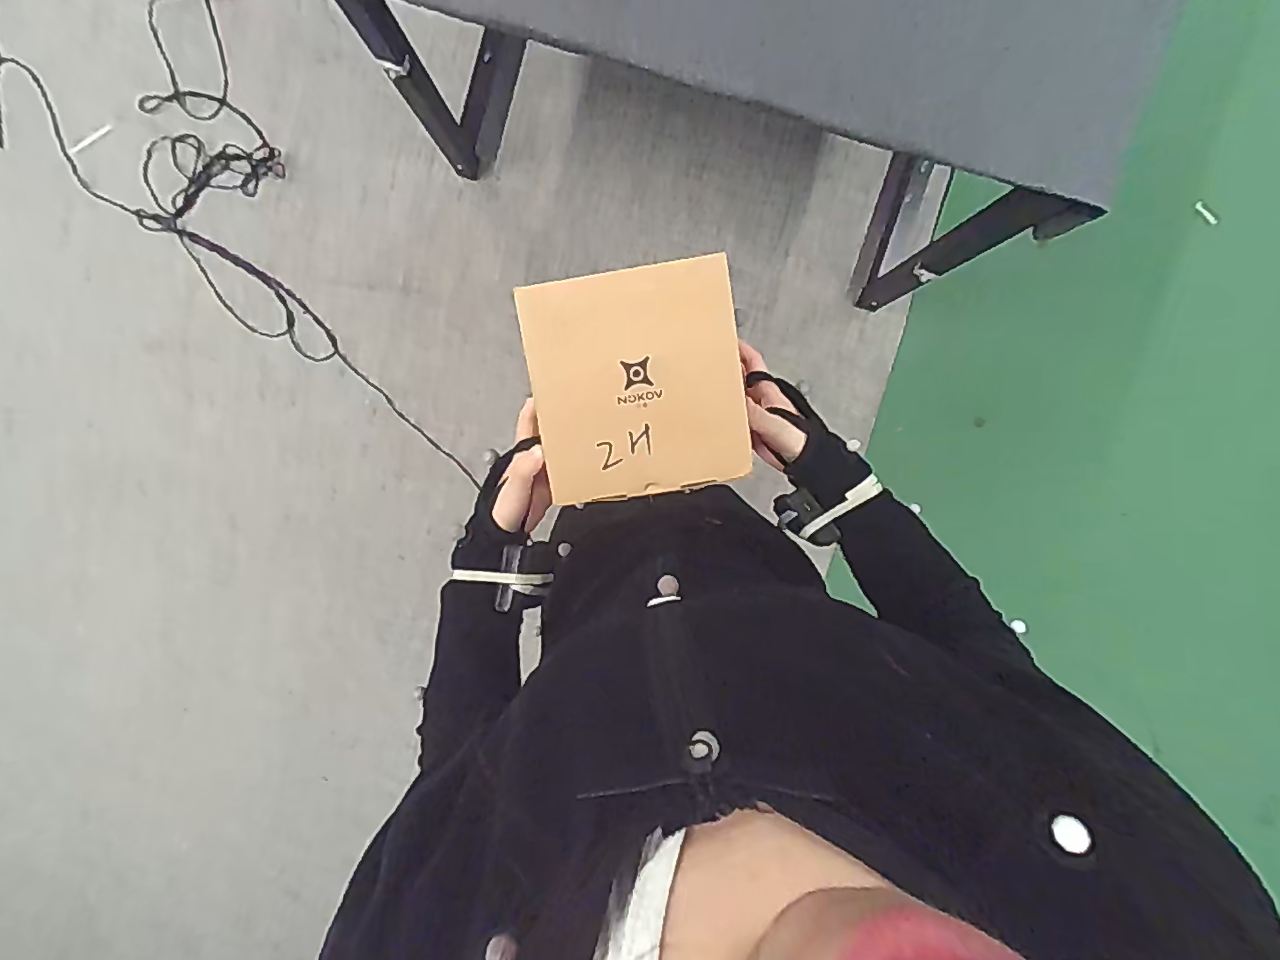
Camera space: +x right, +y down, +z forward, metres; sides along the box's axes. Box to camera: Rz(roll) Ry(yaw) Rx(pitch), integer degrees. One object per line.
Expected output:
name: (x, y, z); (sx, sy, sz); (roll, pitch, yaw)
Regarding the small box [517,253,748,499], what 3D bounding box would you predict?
small box: (-0.004, -0.089, 0.504); (0.168, 0.176, 0.179); (-8, 98, 2)
